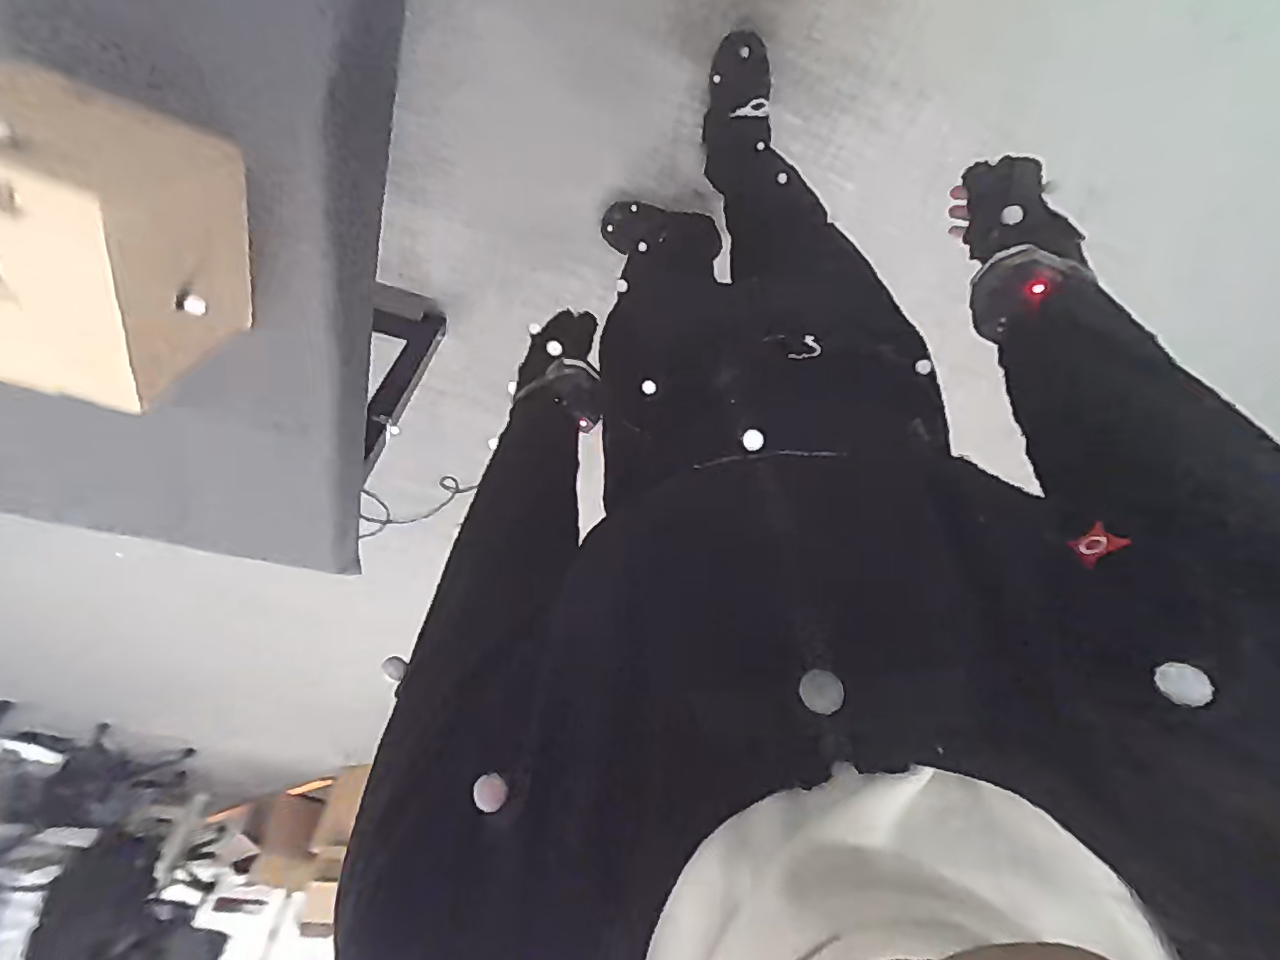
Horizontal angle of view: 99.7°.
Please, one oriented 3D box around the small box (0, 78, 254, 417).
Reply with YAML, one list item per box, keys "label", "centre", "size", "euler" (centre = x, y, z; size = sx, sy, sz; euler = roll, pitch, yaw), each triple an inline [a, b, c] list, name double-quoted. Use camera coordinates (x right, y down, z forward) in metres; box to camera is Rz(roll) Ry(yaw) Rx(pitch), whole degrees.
- label: "small box"
  centre: [-0.444, -0.187, 0.436]
  size: [0.168, 0.176, 0.179]
  euler: [18, 128, -14]
